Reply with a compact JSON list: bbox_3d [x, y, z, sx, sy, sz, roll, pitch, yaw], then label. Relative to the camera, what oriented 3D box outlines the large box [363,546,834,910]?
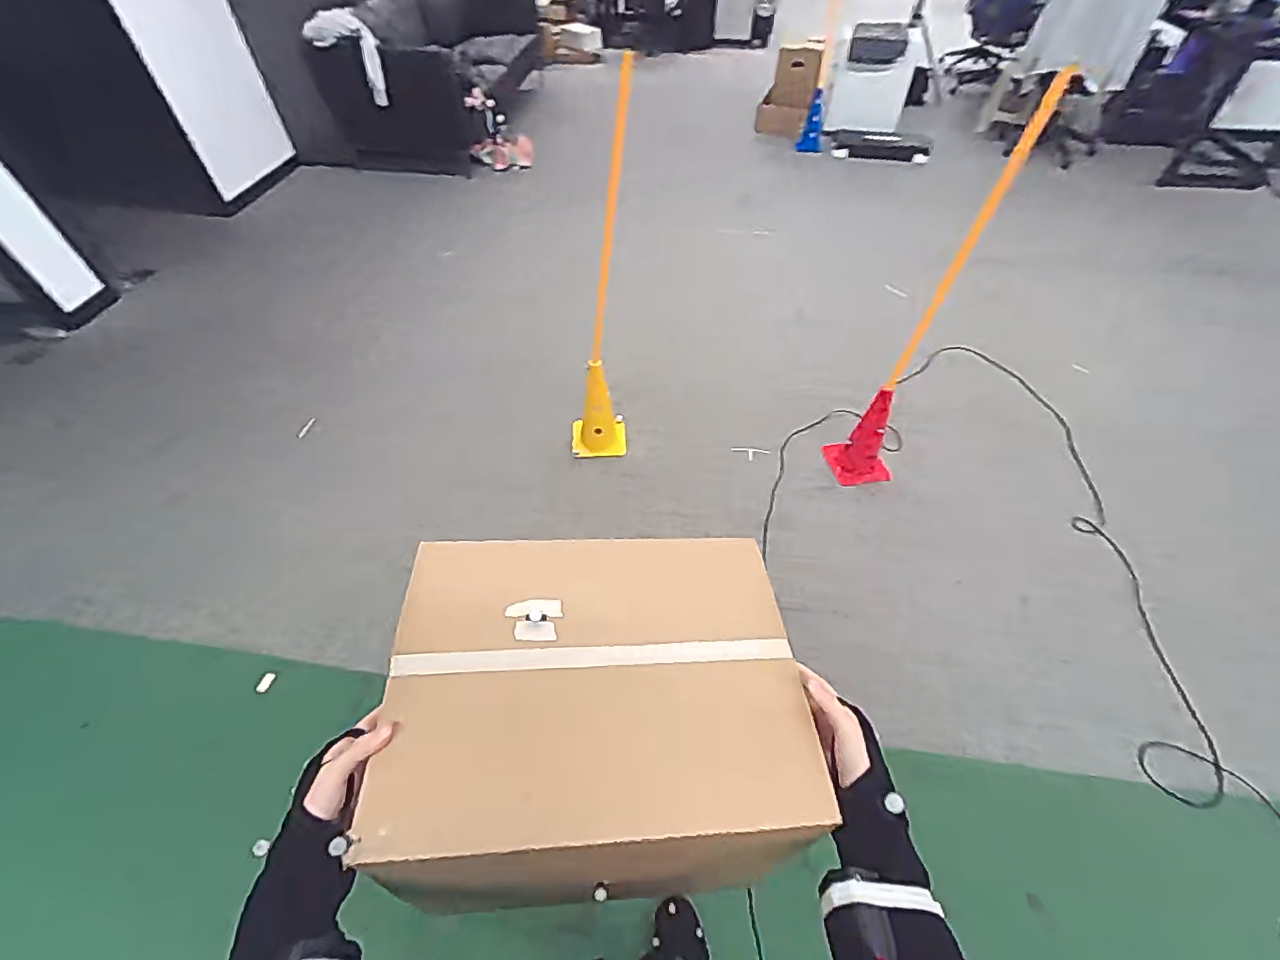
[{"bbox_3d":[-0.047,0.299,0.659,0.408,0.320,0.320,0,45,-6],"label":"large box"}]
